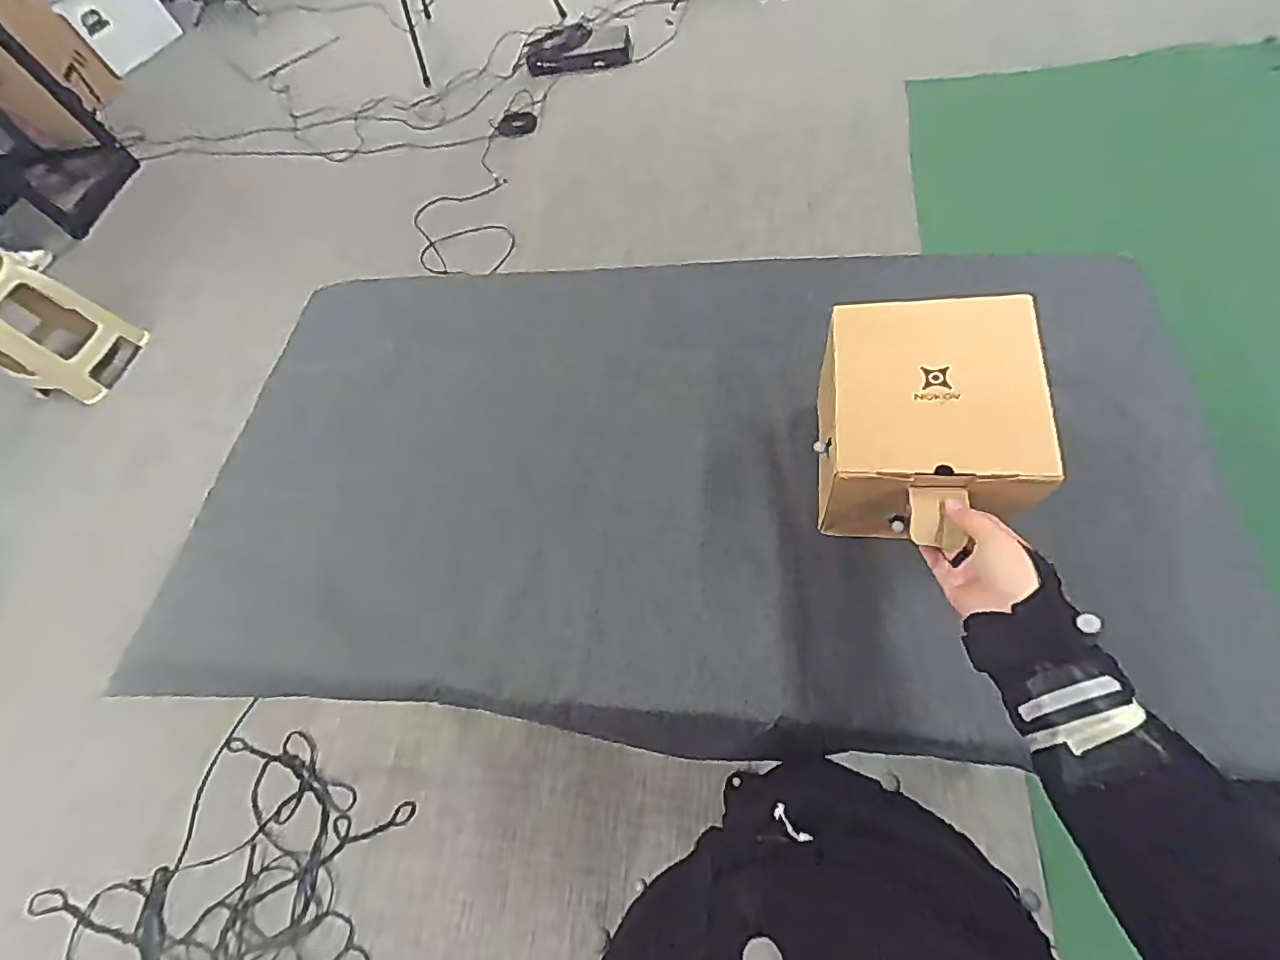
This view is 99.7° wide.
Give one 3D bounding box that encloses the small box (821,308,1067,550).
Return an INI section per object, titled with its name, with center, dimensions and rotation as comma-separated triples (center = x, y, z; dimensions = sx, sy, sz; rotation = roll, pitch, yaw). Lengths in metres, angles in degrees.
[small box]
center = 0.271, -0.042, 0.531
dimensions = 0.168, 0.176, 0.179
rotation = 1, 68, 14
